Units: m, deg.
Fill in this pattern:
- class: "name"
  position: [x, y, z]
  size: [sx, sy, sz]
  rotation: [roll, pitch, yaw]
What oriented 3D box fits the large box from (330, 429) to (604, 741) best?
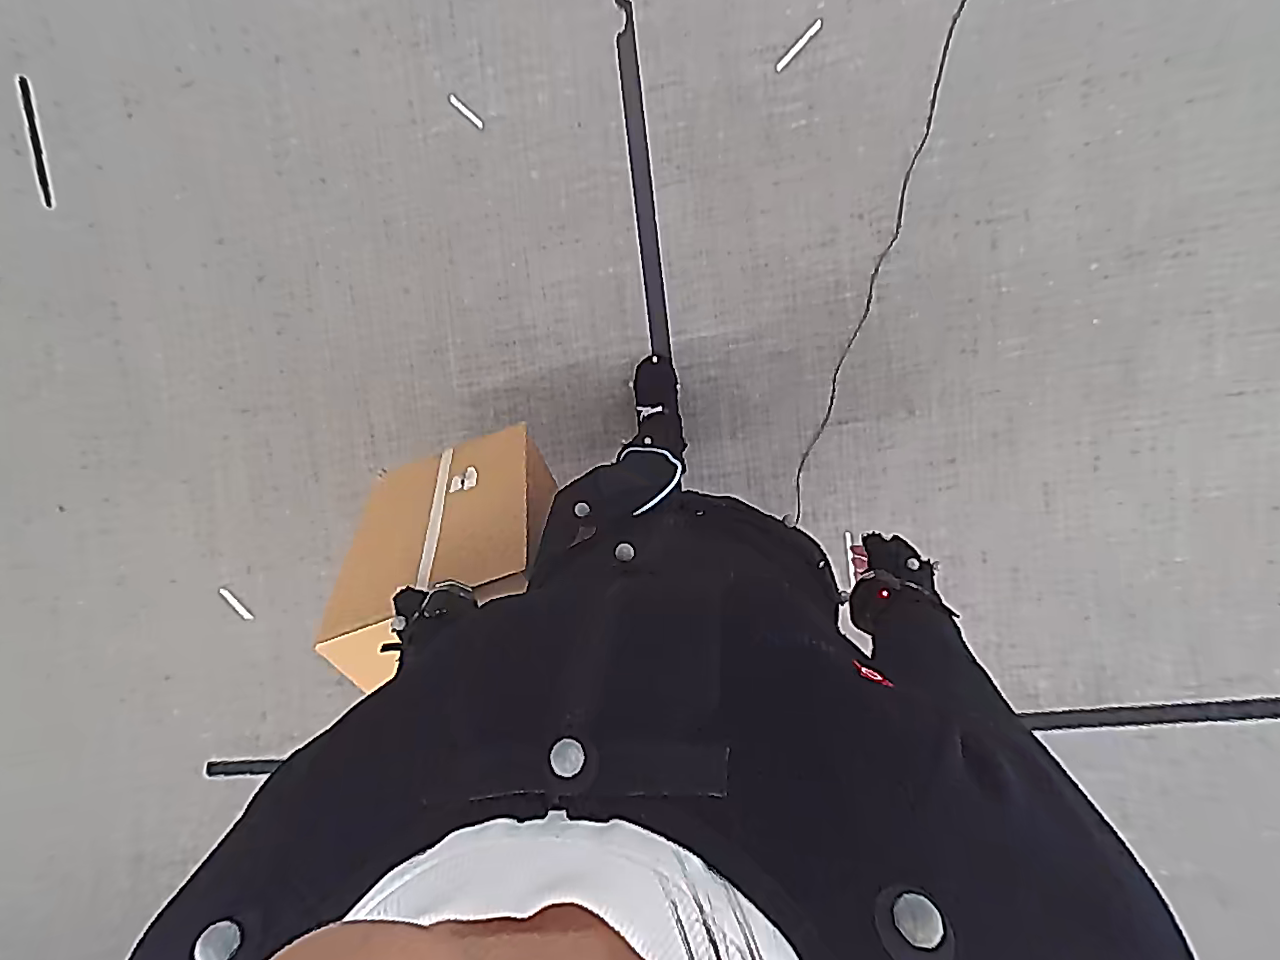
- class: "large box"
  position: [-0.277, 0.173, 0.981]
  size: [0.320, 0.408, 0.320]
  rotation: [-19, 125, 2]
